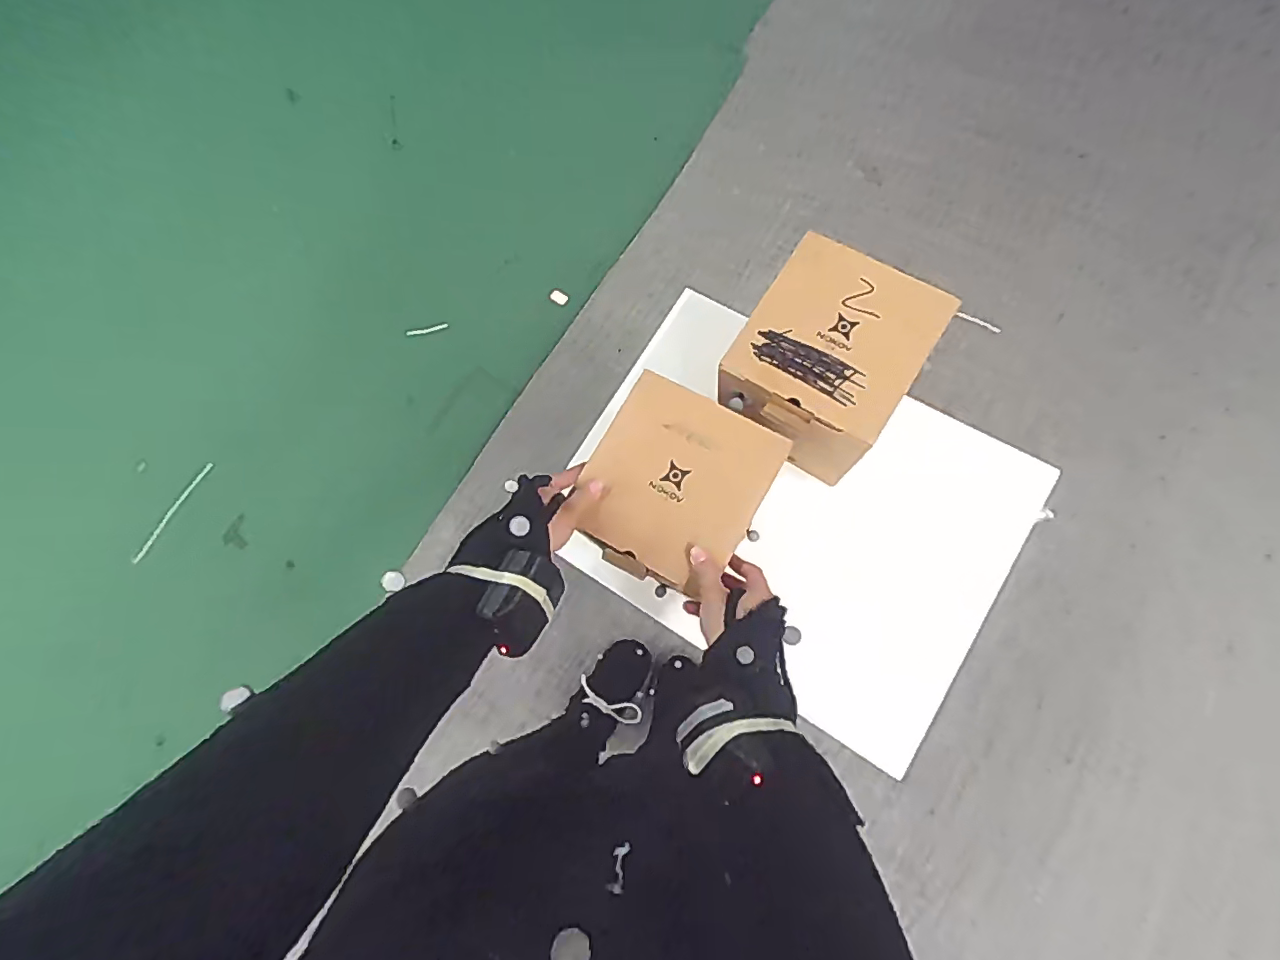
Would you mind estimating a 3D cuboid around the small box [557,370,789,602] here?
[{"bbox_3d":[0.039,0.019,0.588,0.168,0.176,0.179,29,79,11],"label":"small box"}]
